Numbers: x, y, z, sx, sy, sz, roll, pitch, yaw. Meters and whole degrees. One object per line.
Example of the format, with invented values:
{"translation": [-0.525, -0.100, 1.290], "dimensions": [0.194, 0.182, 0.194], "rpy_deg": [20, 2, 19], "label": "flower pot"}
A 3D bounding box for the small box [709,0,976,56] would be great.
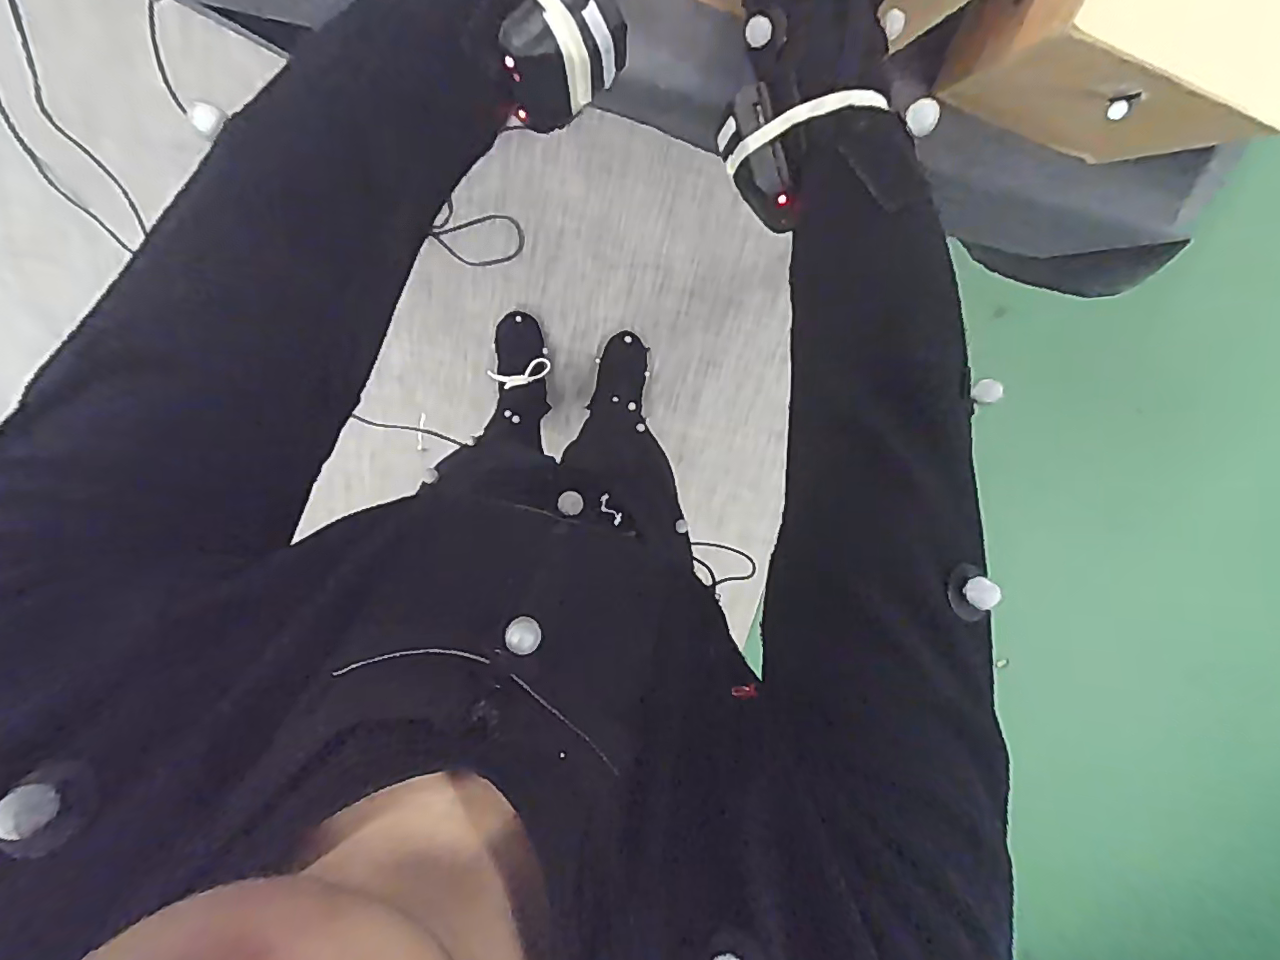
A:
{"translation": [0.145, -0.411, 0.346], "dimensions": [0.179, 0.176, 0.168], "rpy_deg": [15, 112, -7], "label": "small box"}
